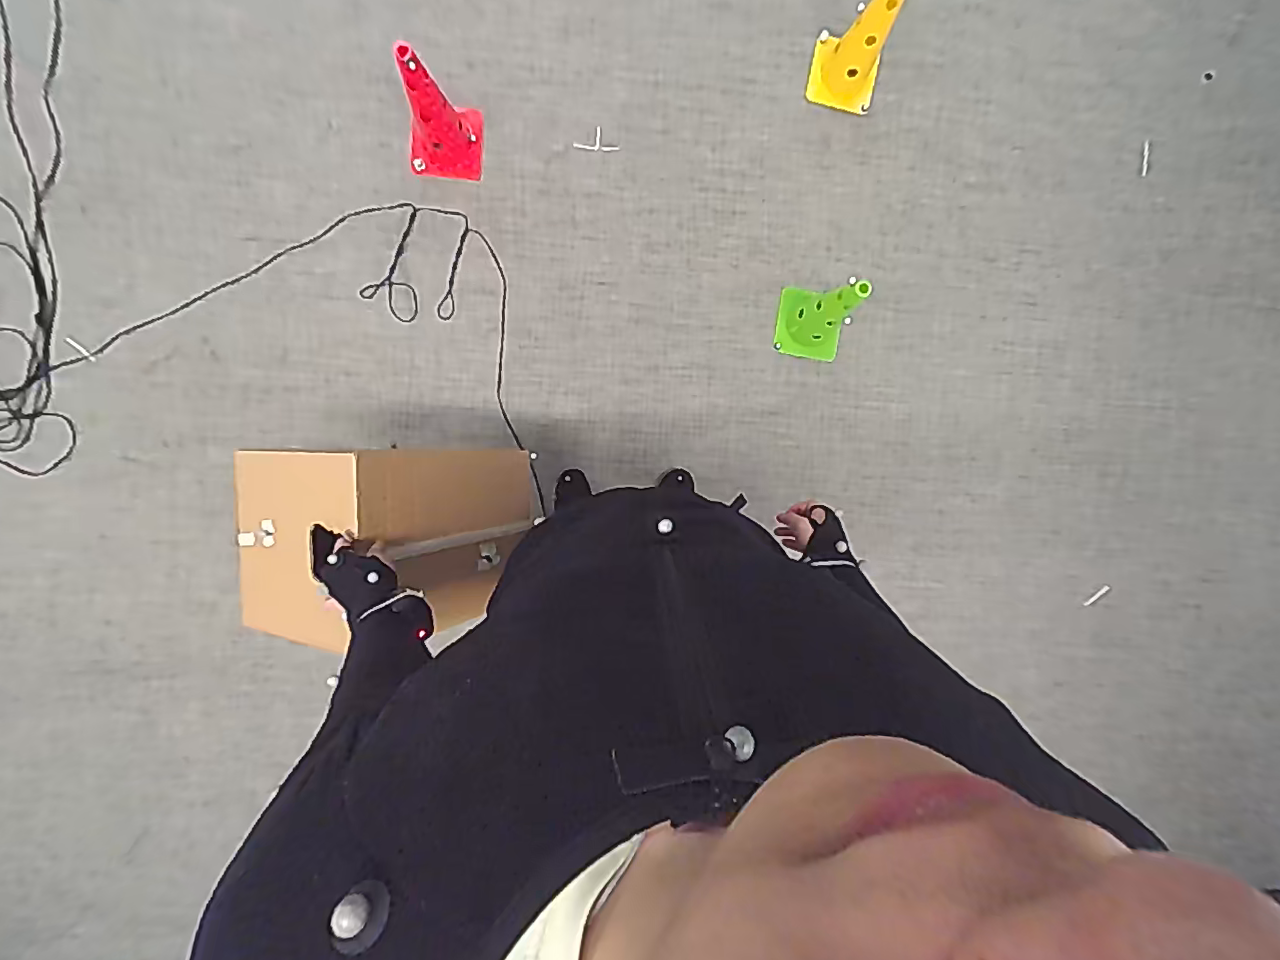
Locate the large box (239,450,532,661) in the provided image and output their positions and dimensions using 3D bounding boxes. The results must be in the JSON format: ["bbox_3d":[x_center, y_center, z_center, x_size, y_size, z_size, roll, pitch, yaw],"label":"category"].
[{"bbox_3d":[-0.457,0.105,1.034,0.320,0.408,0.320,2,95,26],"label":"large box"}]

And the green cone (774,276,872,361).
[{"bbox_3d":[0.532,-0.471,1.485,0.200,0.368,0.202,8,90,-5],"label":"green cone"}]
